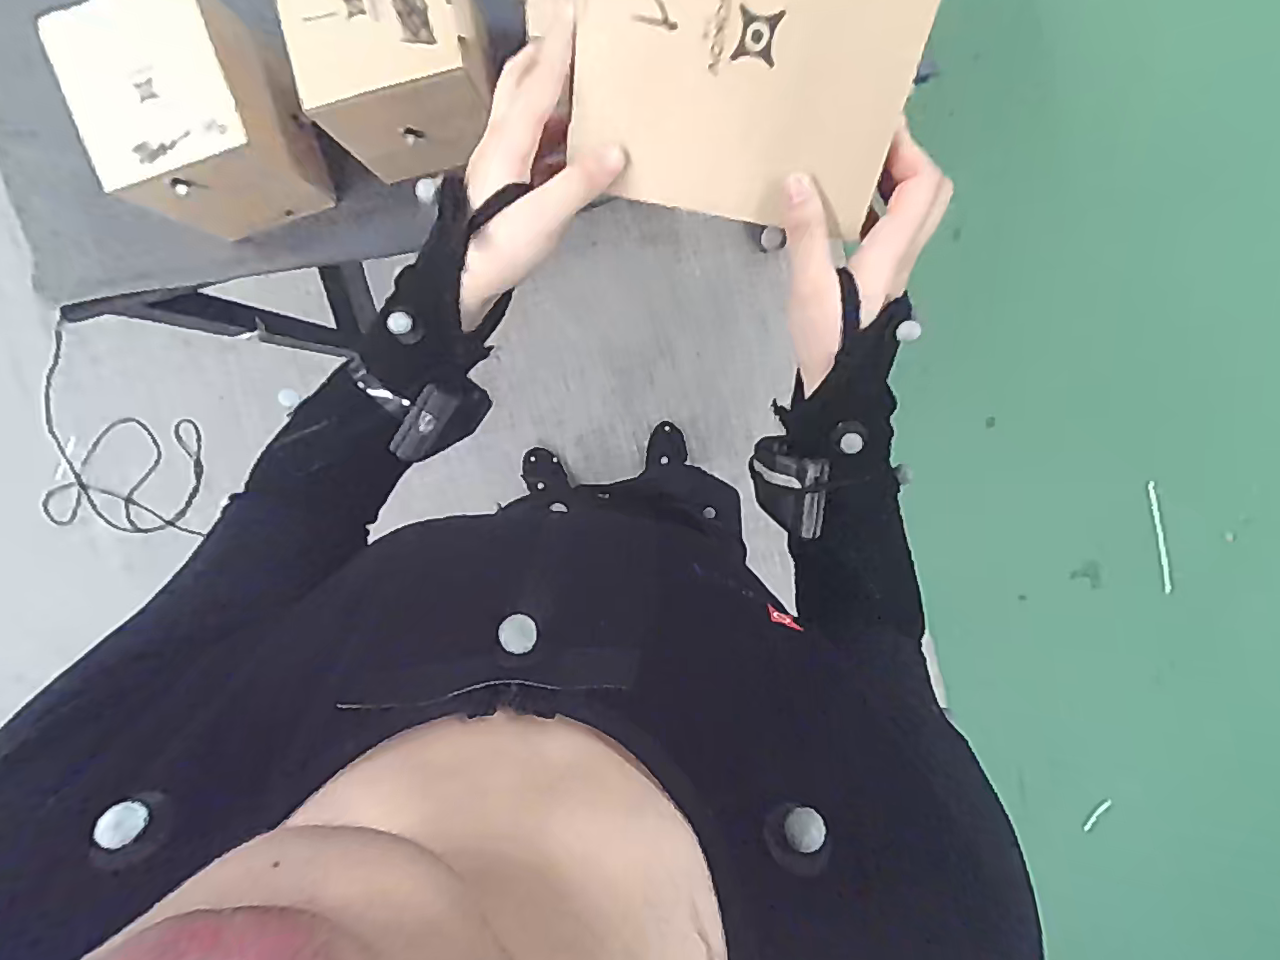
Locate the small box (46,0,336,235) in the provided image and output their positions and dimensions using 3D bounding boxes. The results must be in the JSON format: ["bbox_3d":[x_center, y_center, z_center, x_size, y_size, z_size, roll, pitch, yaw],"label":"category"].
[{"bbox_3d":[-0.498,-0.419,0.629,0.168,0.176,0.179,-16,96,4],"label":"small box"}]

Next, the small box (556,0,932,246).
[{"bbox_3d":[0.062,-0.257,0.332,0.179,0.176,0.168,14,123,7],"label":"small box"}]
